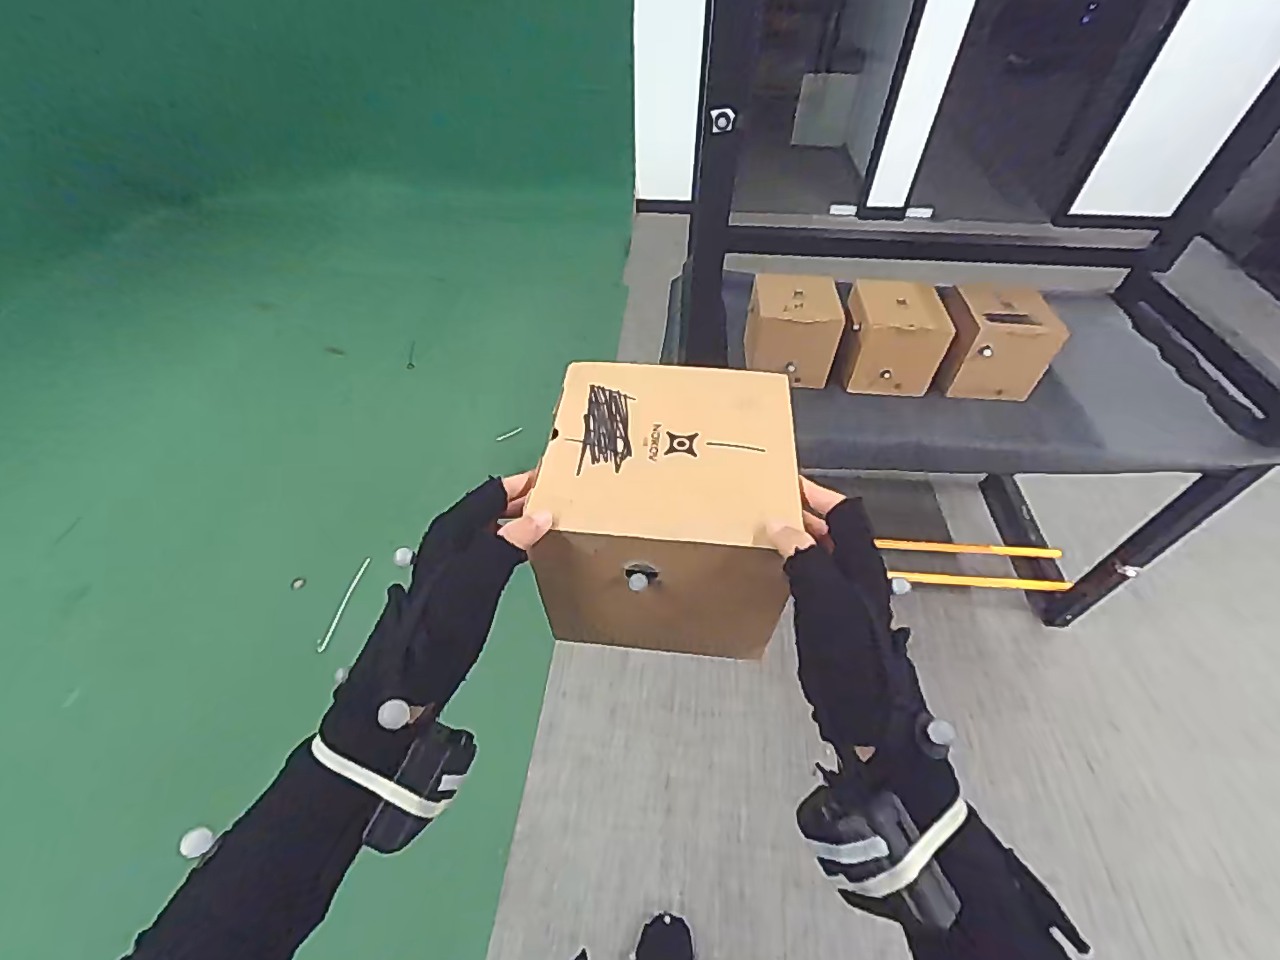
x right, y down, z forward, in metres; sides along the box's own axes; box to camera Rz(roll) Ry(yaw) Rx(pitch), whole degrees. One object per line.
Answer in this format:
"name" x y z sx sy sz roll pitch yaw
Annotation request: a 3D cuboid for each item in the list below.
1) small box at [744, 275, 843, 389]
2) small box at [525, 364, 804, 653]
"small box" 0.320 -0.320 1.167 0.168 0.176 0.179 3 49 3
"small box" 0.023 0.026 0.441 0.179 0.176 0.168 5 50 4
